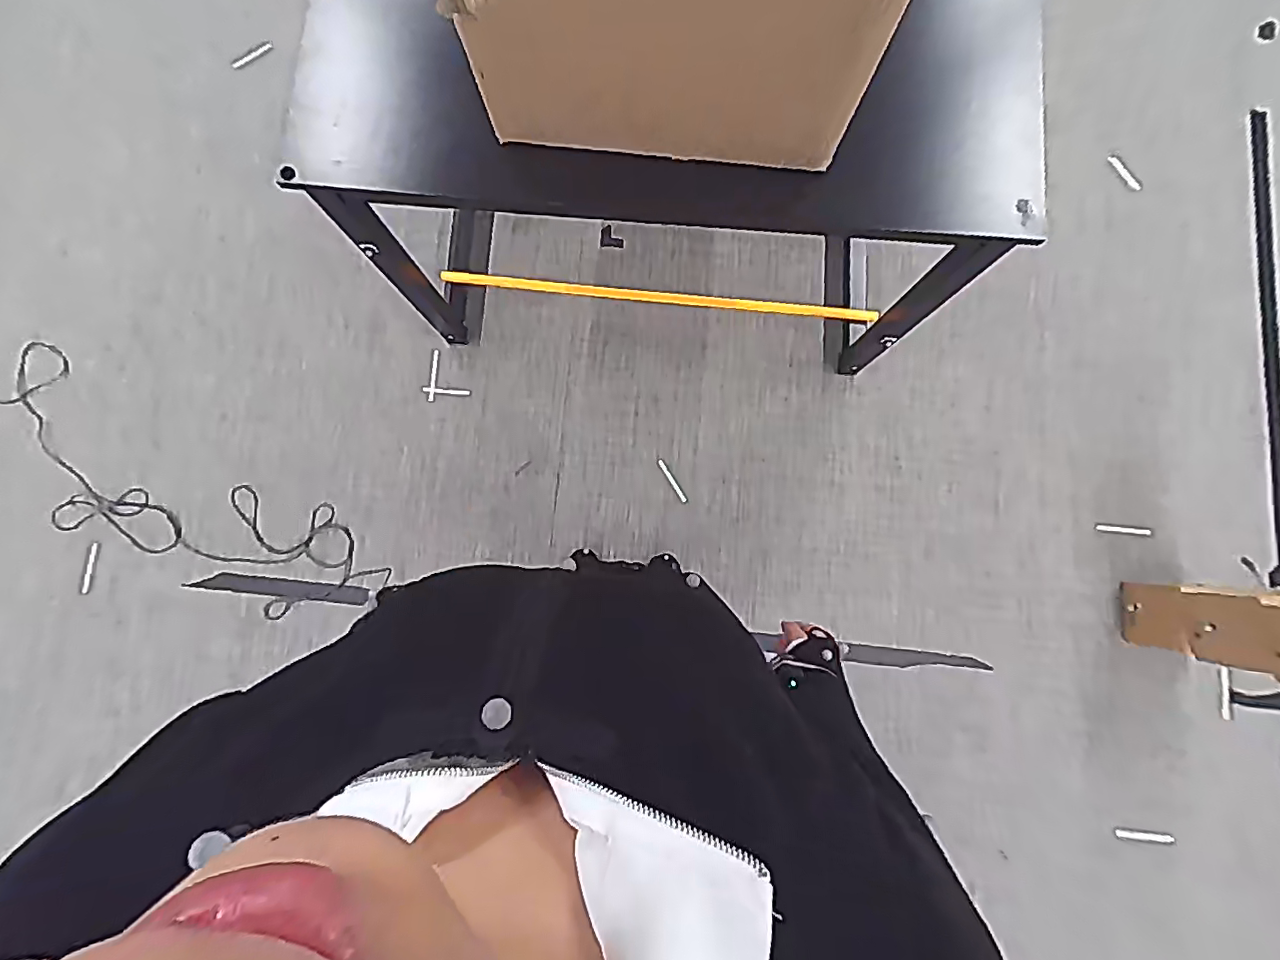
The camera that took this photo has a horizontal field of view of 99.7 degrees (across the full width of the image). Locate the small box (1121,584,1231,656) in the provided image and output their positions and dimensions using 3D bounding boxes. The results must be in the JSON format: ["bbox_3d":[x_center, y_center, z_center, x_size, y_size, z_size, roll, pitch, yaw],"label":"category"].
[{"bbox_3d":[1.410,0.359,1.401,0.179,0.176,0.168,2,82,1],"label":"small box"}]

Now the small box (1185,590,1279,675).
[{"bbox_3d":[1.423,0.342,1.237,0.179,0.176,0.168,-3,81,0],"label":"small box"}]

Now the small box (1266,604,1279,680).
[{"bbox_3d":[1.419,0.332,1.073,0.179,0.176,0.168,-5,82,-1],"label":"small box"}]
